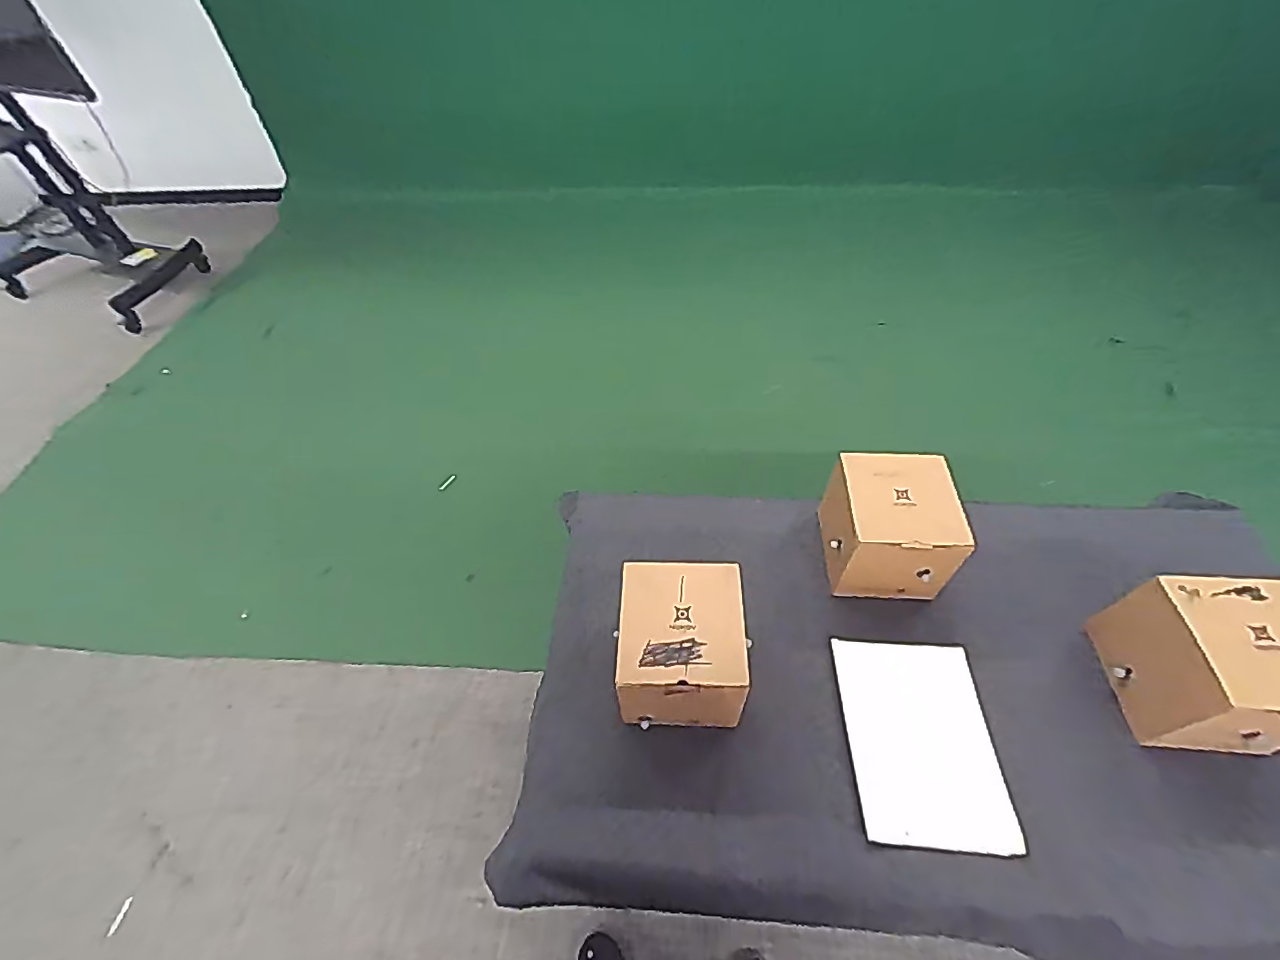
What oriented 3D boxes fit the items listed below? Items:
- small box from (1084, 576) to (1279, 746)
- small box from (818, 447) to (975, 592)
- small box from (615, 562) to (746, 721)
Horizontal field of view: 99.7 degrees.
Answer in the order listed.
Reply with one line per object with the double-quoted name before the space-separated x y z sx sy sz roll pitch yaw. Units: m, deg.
"small box" 0.764 0.248 0.731 0.168 0.176 0.179 2 53 4
"small box" 0.398 0.067 0.876 0.168 0.176 0.179 2 51 3
"small box" 0.058 0.236 0.777 0.168 0.176 0.179 1 51 3
